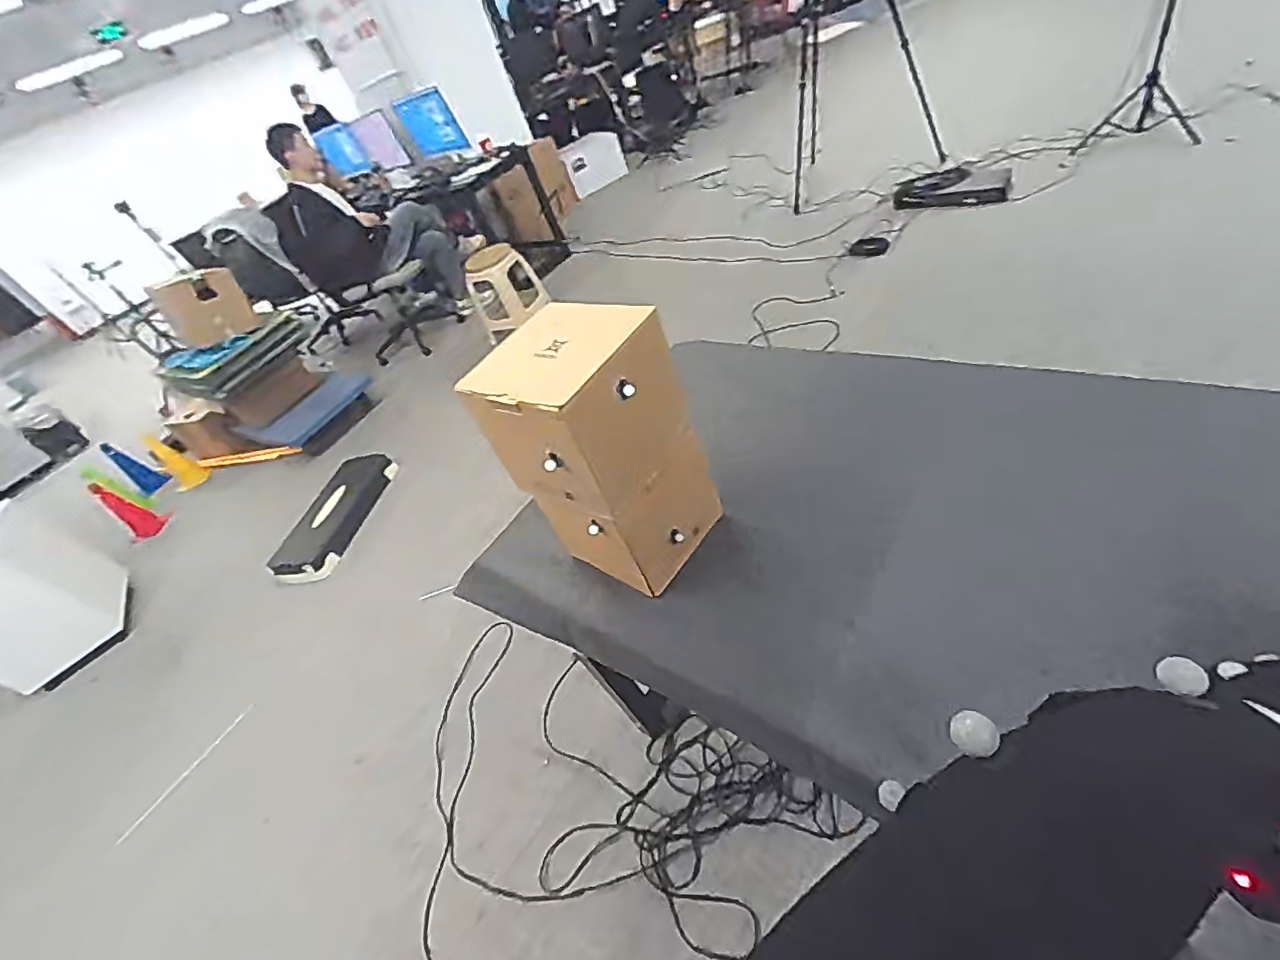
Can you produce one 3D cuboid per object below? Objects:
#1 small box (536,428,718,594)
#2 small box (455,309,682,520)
[{"bbox_3d":[-0.019,0.028,0.743,0.179,0.176,0.168,20,57,39],"label":"small box"},{"bbox_3d":[-0.069,-0.079,0.632,0.168,0.176,0.179,15,53,35],"label":"small box"}]
